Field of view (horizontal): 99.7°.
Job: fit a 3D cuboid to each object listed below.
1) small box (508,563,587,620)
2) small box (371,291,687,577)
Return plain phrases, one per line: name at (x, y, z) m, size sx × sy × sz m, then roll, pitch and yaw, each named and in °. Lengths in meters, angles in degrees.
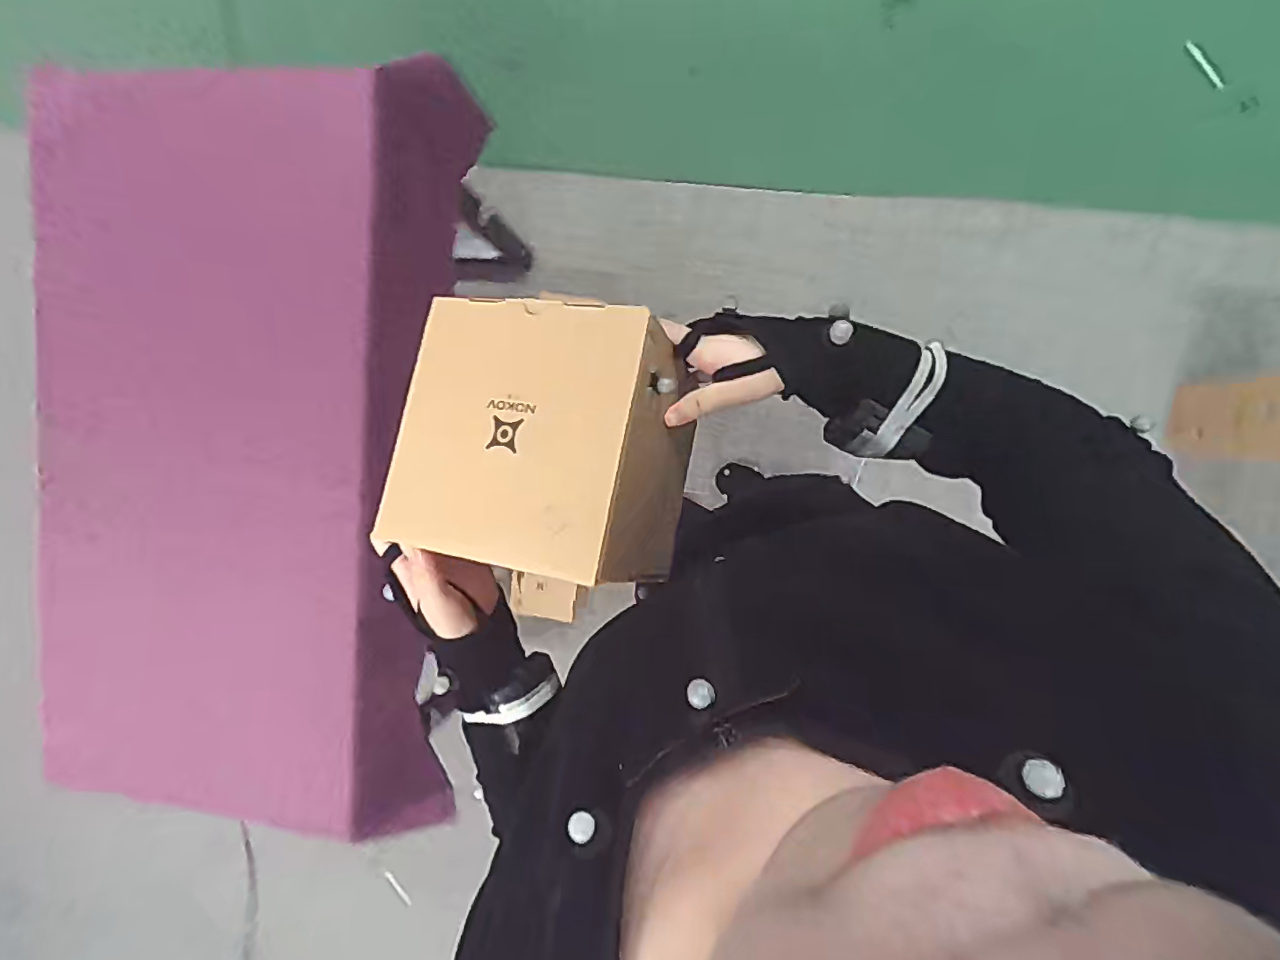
small box at (-0.246, 0.270, 1.493) m, size 0.179 × 0.176 × 0.168 m, roll 7°, pitch 94°, yaw 7°
small box at (-0.069, -0.026, 0.432) m, size 0.168 × 0.176 × 0.179 m, roll 11°, pitch 83°, yaw 19°
